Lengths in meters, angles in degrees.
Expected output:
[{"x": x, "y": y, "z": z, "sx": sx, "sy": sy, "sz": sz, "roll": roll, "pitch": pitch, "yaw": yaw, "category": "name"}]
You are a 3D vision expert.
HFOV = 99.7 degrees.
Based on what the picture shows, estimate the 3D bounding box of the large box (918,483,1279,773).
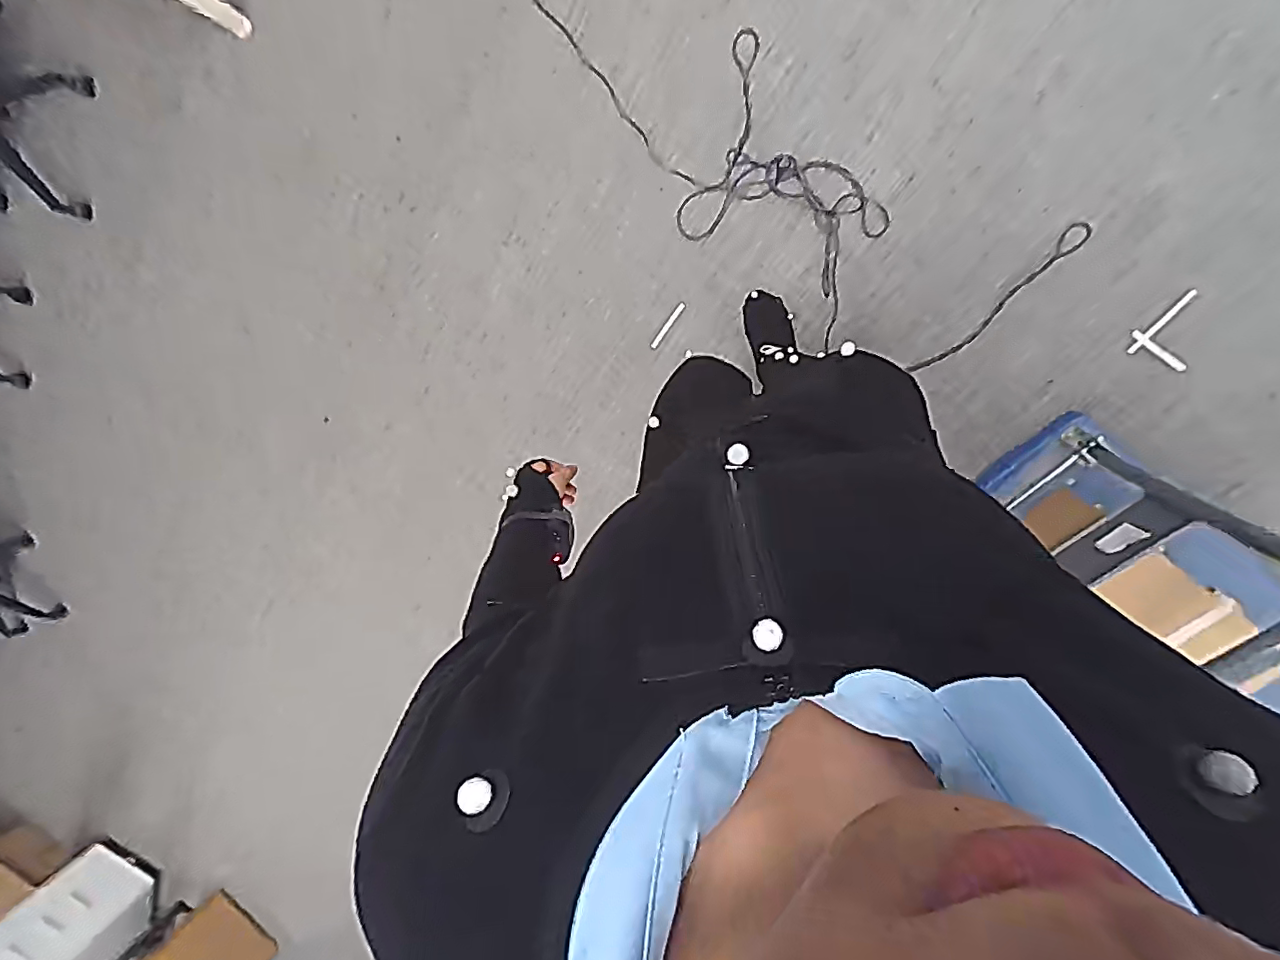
[{"x": 0.861, "y": 0.283, "z": 1.099, "sx": 0.320, "sy": 0.320, "sz": 0.408, "roll": 37, "pitch": 115, "yaw": 2, "category": "large box"}]
